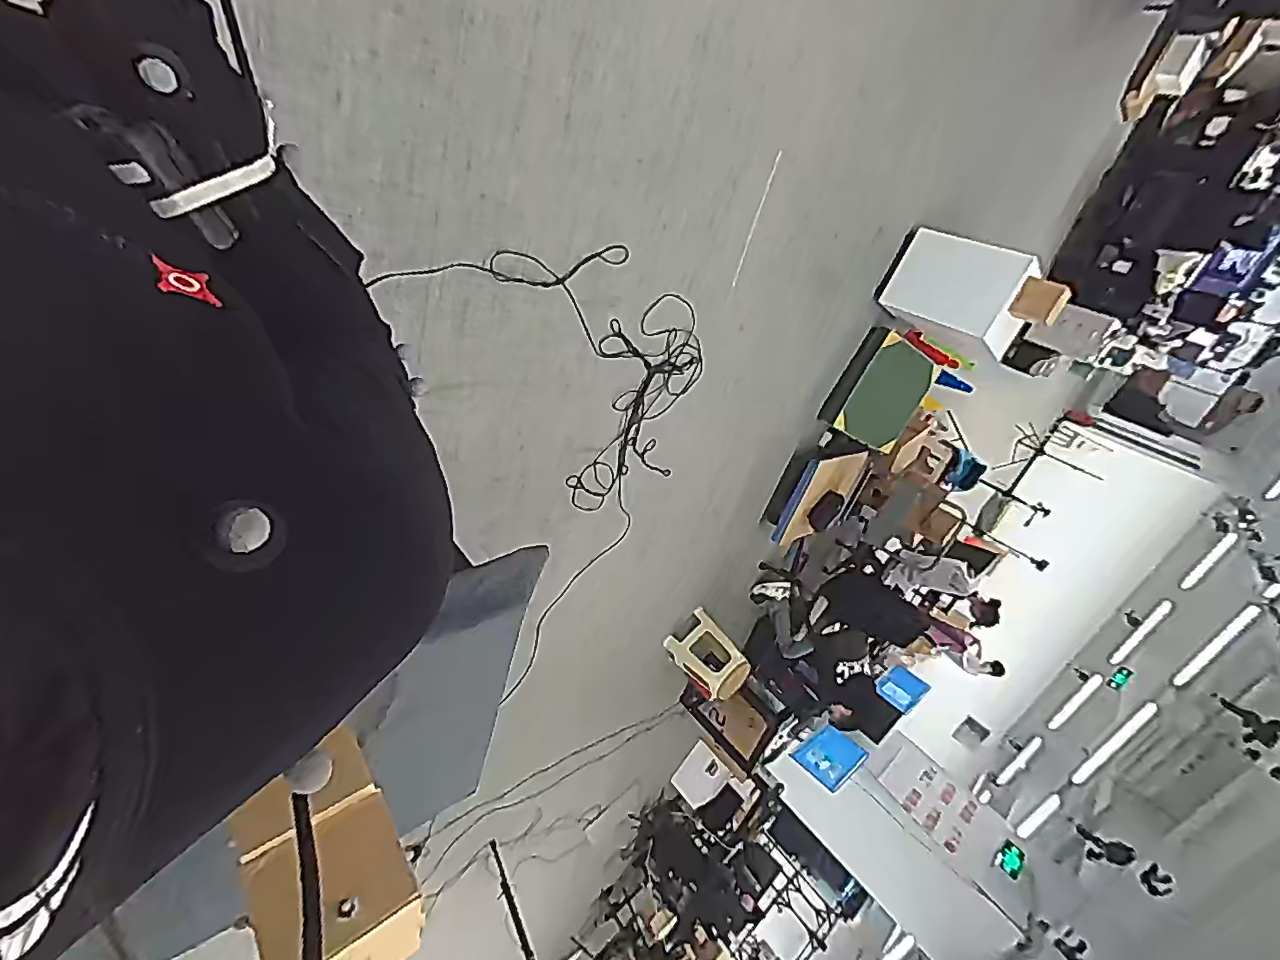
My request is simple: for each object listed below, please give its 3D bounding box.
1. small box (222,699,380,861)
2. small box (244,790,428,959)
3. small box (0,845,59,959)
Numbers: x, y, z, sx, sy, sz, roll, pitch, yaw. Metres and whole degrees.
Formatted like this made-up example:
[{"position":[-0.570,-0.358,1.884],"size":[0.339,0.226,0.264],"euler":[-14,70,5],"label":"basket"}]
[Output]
[{"position":[-0.511,0.479,0.831],"size":[0.168,0.176,0.179],"euler":[-19,134,-38],"label":"small box"},{"position":[-0.413,0.576,0.743],"size":[0.179,0.176,0.168],"euler":[-15,130,-40],"label":"small box"},{"position":[-0.774,0.552,0.597],"size":[0.168,0.176,0.179],"euler":[-9,127,-45],"label":"small box"}]
